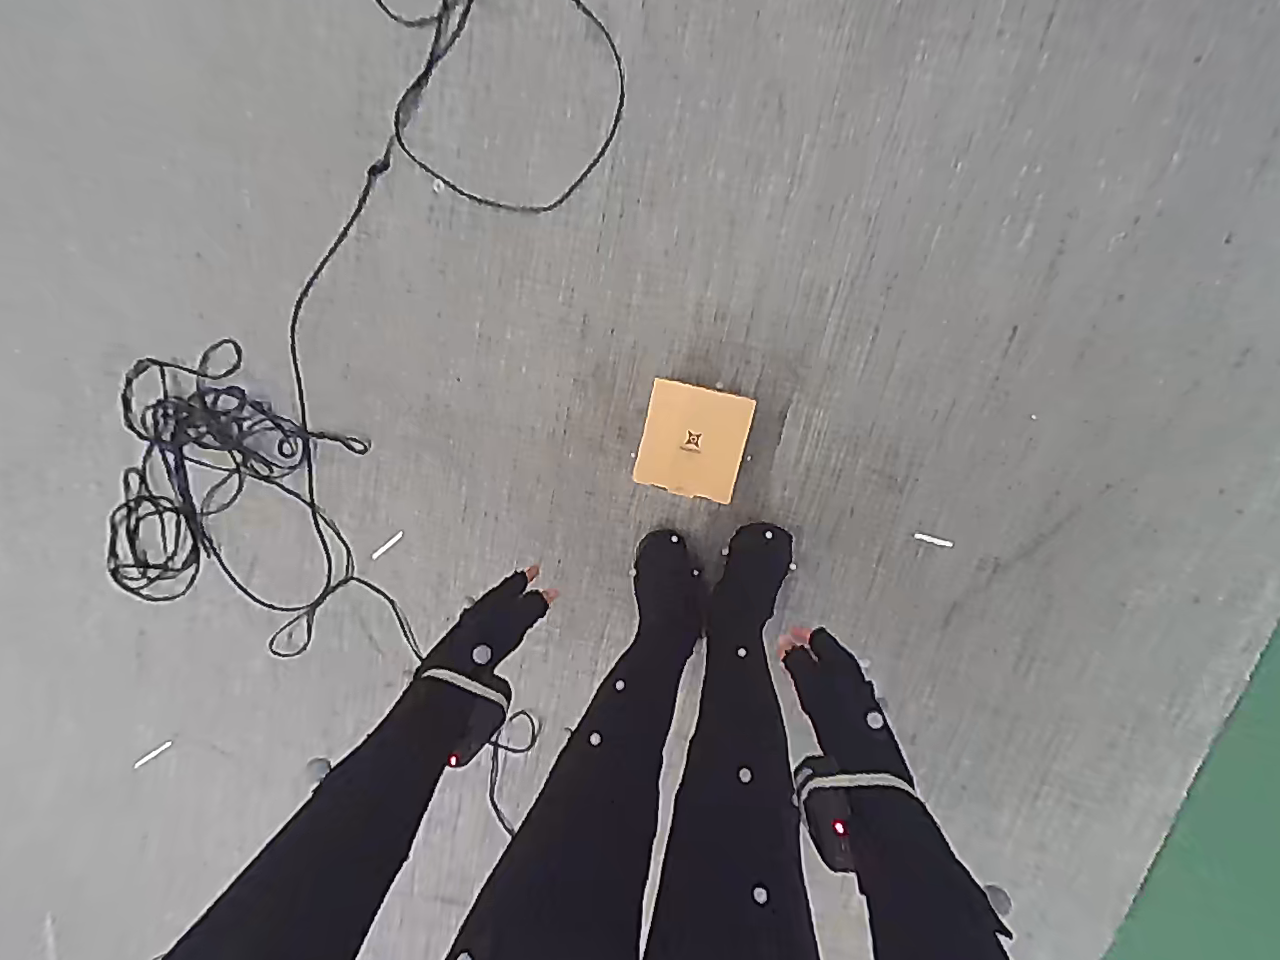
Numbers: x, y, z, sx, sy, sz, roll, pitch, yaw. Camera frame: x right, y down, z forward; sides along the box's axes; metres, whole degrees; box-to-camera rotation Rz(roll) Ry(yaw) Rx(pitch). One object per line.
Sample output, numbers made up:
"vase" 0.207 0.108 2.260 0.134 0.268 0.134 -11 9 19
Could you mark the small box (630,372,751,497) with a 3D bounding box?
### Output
"small box" 0.088 -0.087 0.951 0.168 0.176 0.179 13 103 5
